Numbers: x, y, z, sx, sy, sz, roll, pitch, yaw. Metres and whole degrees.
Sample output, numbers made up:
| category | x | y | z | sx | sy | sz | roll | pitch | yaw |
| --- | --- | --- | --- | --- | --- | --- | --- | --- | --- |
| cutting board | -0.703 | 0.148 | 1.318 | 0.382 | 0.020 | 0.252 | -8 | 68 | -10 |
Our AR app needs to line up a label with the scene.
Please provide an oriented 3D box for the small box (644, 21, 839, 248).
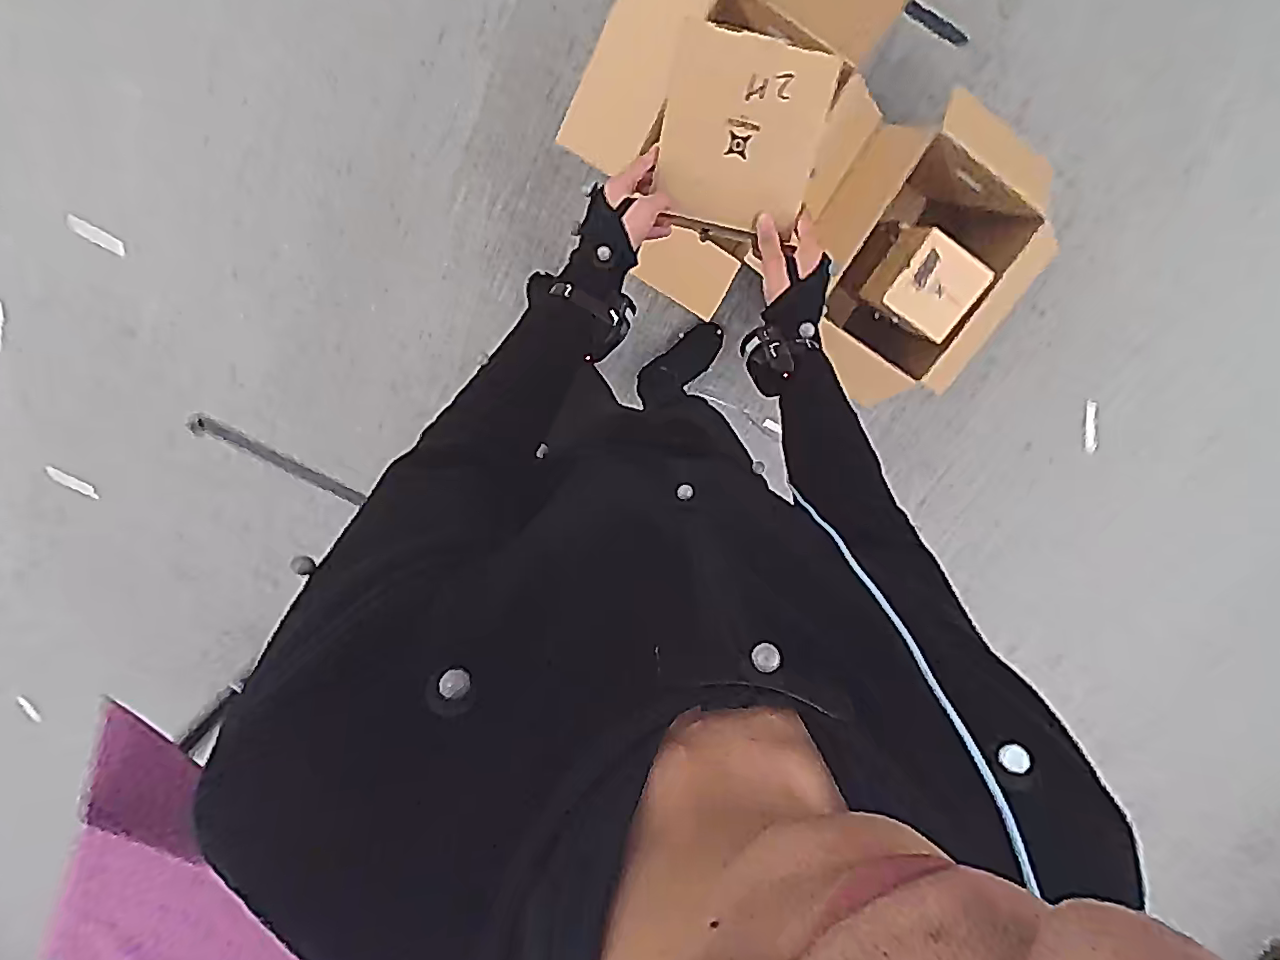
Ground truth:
| category | x | y | z | sx | sy | sz | roll | pitch | yaw |
| --- | --- | --- | --- | --- | --- | --- | --- | --- | --- |
| small box | 0.102 | -0.381 | 0.634 | 0.168 | 0.176 | 0.179 | 11 | 112 | -5 |
